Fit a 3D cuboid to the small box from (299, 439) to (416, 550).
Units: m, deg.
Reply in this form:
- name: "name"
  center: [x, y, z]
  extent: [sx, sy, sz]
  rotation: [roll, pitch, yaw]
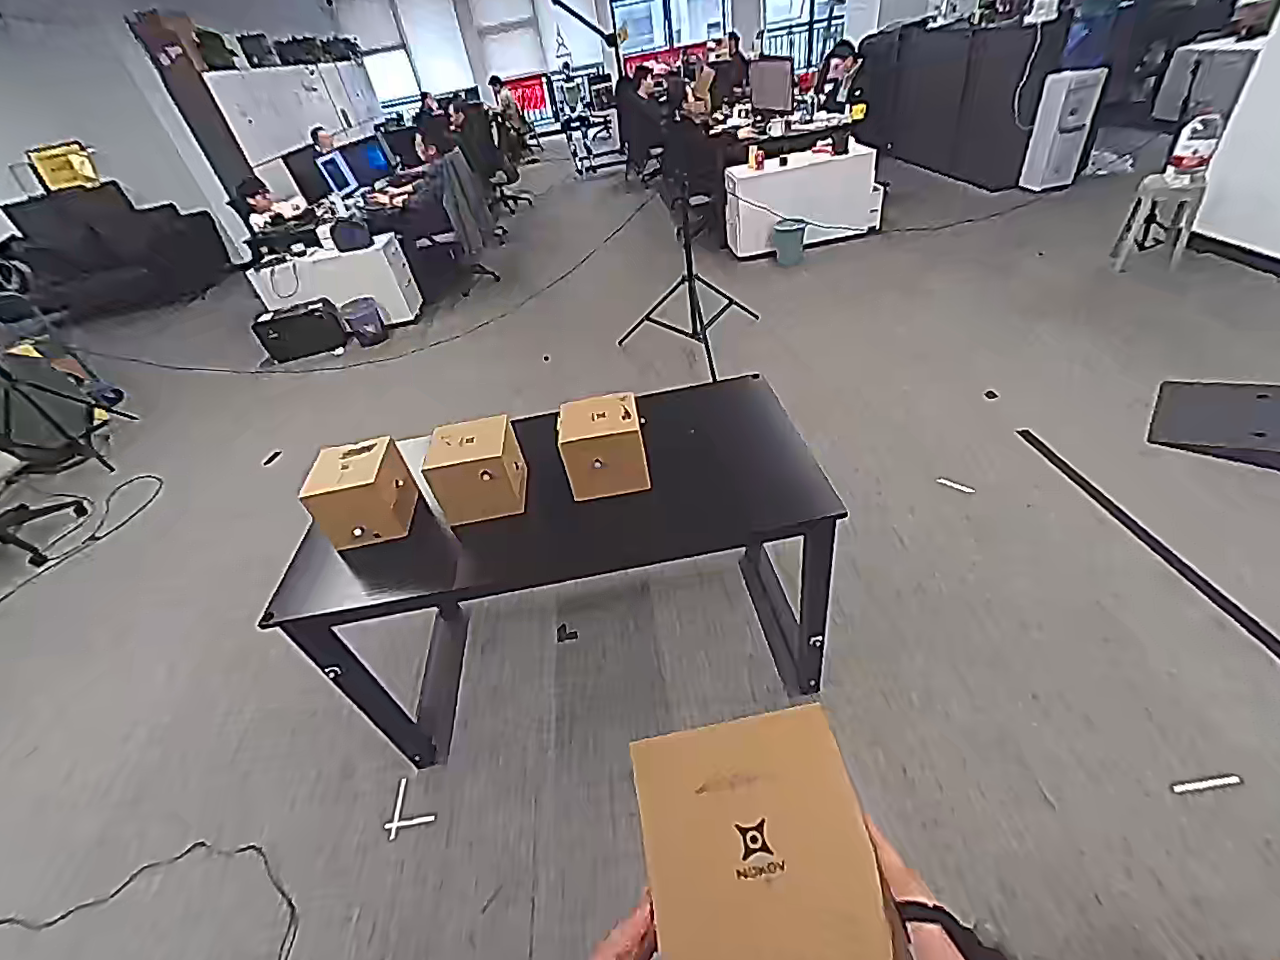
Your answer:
- name: "small box"
  center: [-0.636, 0.033, 1.246]
  extent: [0.168, 0.176, 0.179]
  rotation: [-12, 40, -1]

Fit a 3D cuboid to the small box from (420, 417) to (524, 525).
- name: "small box"
  center: [-0.374, -0.019, 1.245]
  extent: [0.179, 0.176, 0.168]
  rotation: [-11, 39, 0]

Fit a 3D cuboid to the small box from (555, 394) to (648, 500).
- name: "small box"
  center: [-0.087, -0.073, 1.245]
  extent: [0.179, 0.176, 0.168]
  rotation: [-10, 39, 2]
